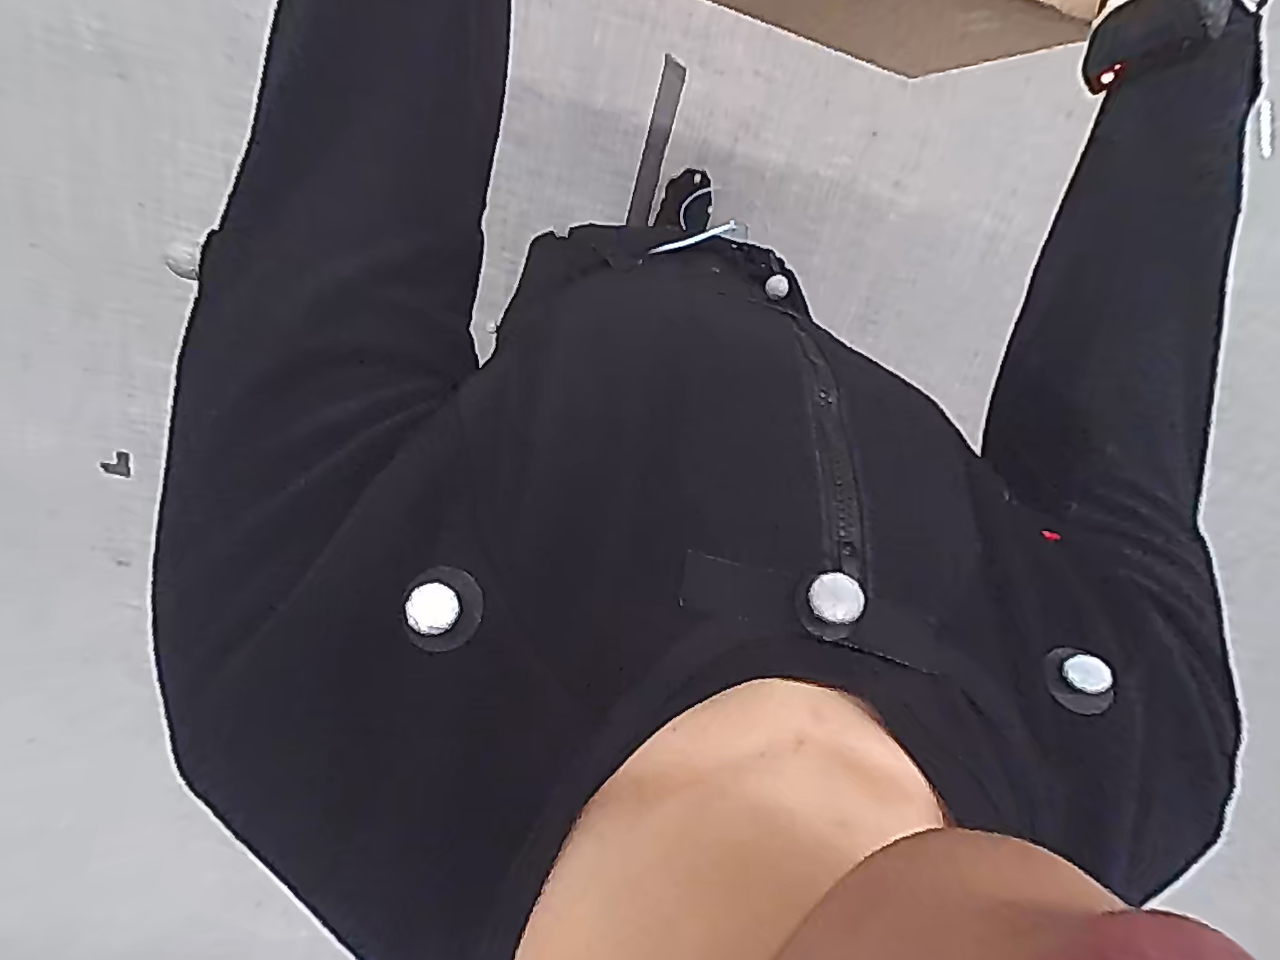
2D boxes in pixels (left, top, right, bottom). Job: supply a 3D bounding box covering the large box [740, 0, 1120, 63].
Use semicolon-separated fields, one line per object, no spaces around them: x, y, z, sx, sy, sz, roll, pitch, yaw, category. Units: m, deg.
0.174;-0.568;0.395;0.408;0.320;0.320;13;122;-10;large box
